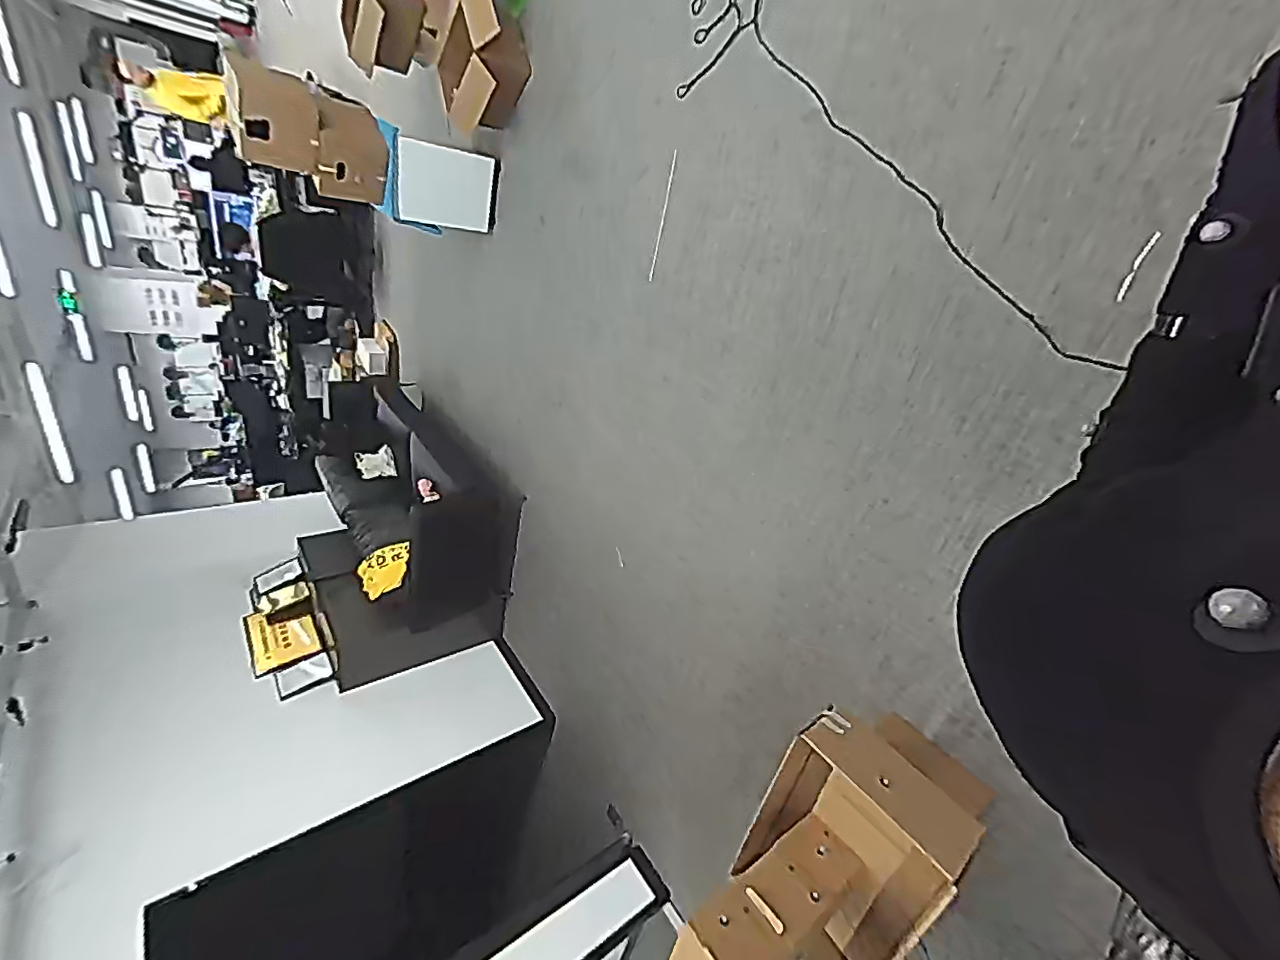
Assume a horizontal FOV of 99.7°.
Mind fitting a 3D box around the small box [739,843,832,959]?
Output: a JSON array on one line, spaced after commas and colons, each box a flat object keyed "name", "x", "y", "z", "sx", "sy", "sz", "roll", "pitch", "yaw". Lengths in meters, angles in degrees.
[{"name": "small box", "x": 0.324, "y": 1.012, "z": 1.272, "sx": 0.168, "sy": 0.176, "sz": 0.179, "roll": 31, "pitch": 119, "yaw": 43}]

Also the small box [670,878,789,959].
[{"name": "small box", "x": 0.196, "y": 1.024, "z": 1.172, "sx": 0.168, "sy": 0.176, "sz": 0.179, "roll": 35, "pitch": 121, "yaw": 42}]
